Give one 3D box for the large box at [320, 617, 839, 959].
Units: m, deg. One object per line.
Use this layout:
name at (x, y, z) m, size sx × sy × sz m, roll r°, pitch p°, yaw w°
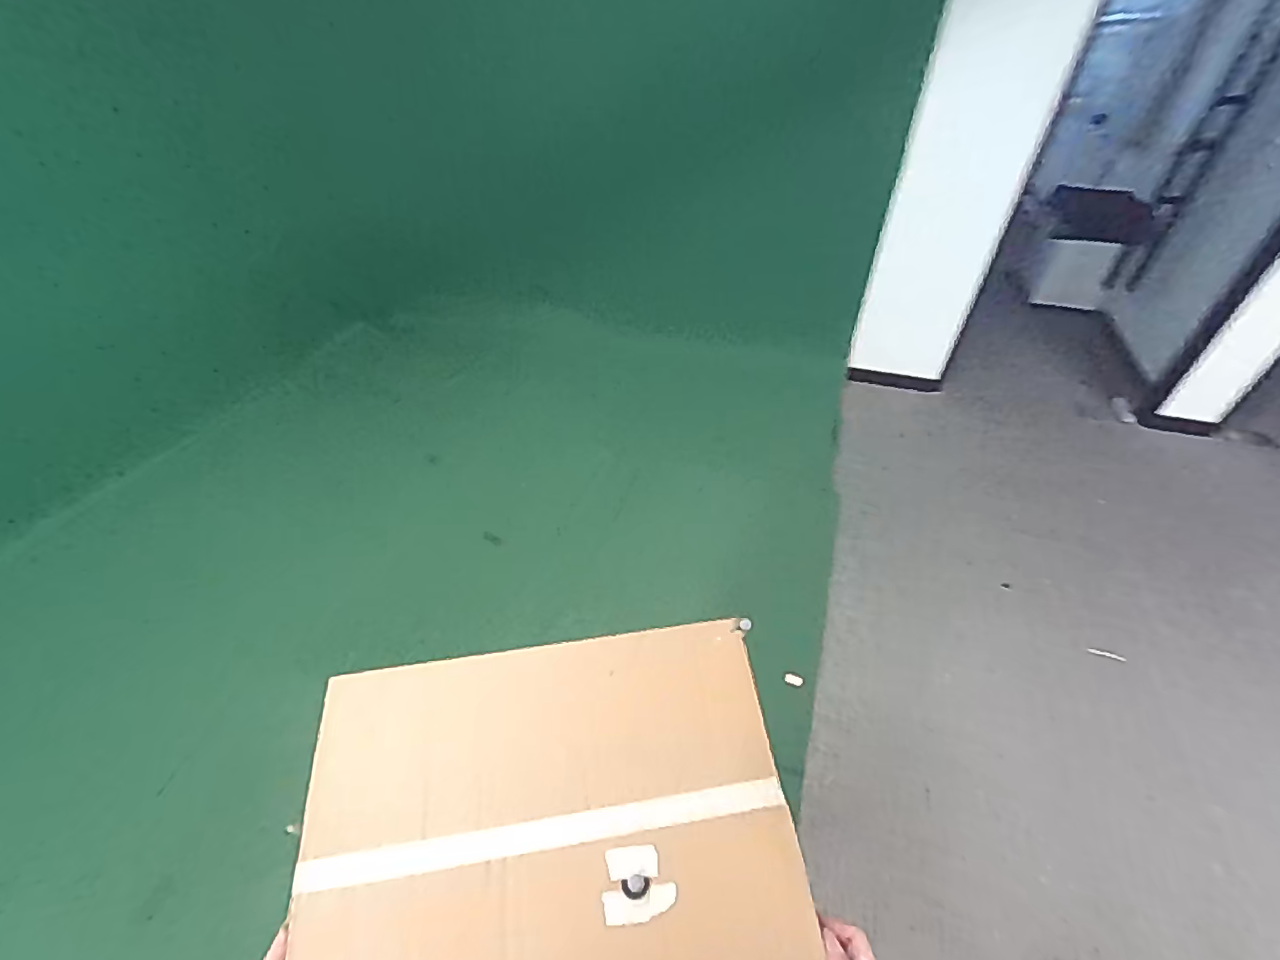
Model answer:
large box at (-0.063, 0.375, 0.593) m, size 0.408 × 0.320 × 0.320 m, roll -6°, pitch 58°, yaw -5°
